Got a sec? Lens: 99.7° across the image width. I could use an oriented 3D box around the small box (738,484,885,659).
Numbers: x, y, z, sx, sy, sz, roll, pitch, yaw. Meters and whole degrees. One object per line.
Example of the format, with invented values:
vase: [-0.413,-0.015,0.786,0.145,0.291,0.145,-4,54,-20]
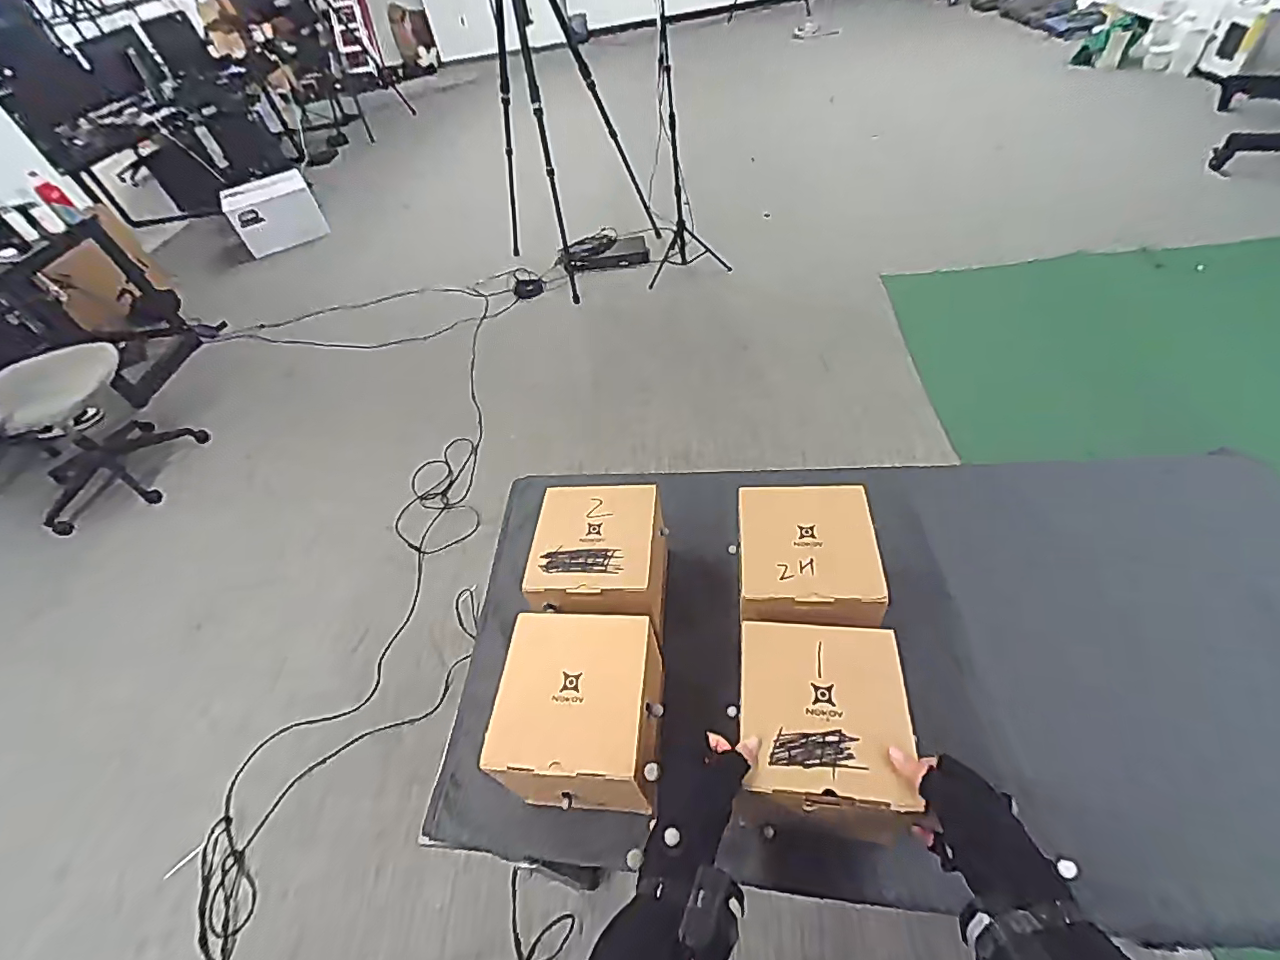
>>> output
small box: [0.220,0.124,0.743,0.168,0.176,0.179,-1,49,10]
